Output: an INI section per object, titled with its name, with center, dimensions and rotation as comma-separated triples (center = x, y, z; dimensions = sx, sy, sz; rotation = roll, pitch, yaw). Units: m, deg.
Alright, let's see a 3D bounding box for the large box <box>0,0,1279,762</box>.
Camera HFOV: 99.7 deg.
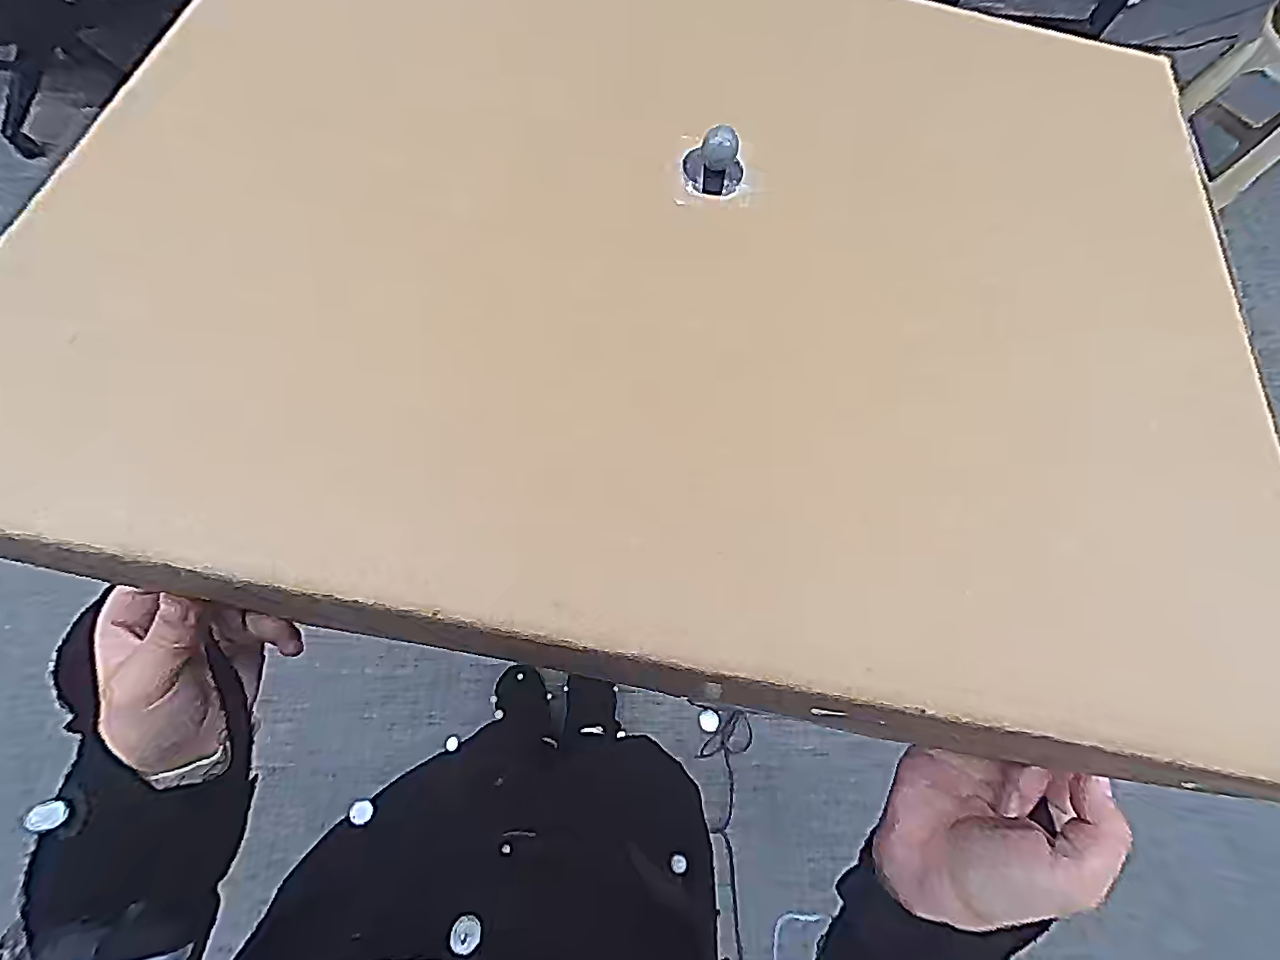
[large box]
center = 0.008, -0.051, 0.329
dimensions = 0.408, 0.320, 0.320
rotation = 11, 70, -1
